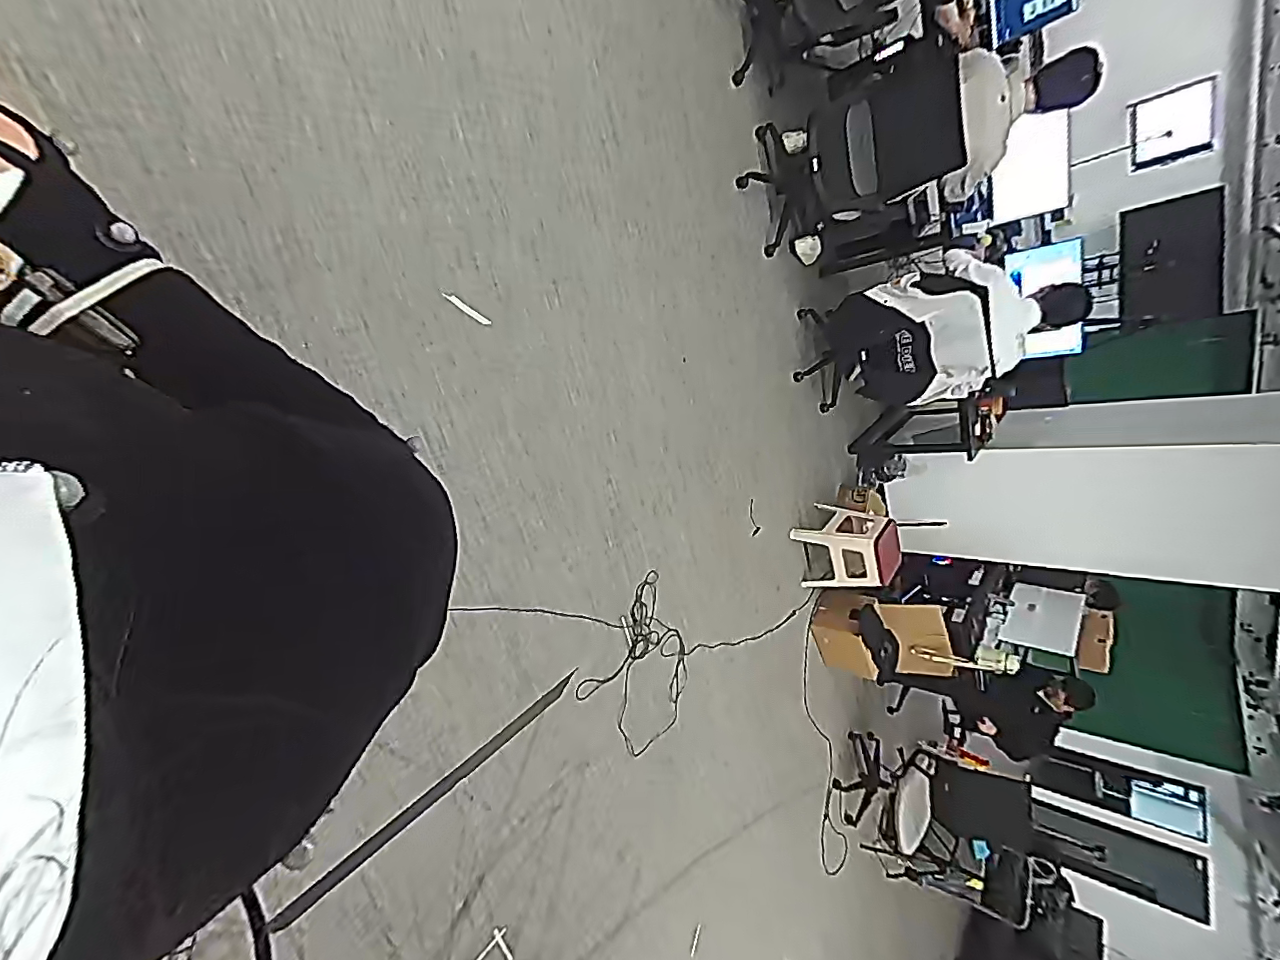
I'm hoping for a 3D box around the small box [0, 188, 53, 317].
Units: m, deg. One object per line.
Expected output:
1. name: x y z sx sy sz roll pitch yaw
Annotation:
1. small box: -0.804 -0.266 0.588 0.179 0.176 0.168 -34 115 -42
